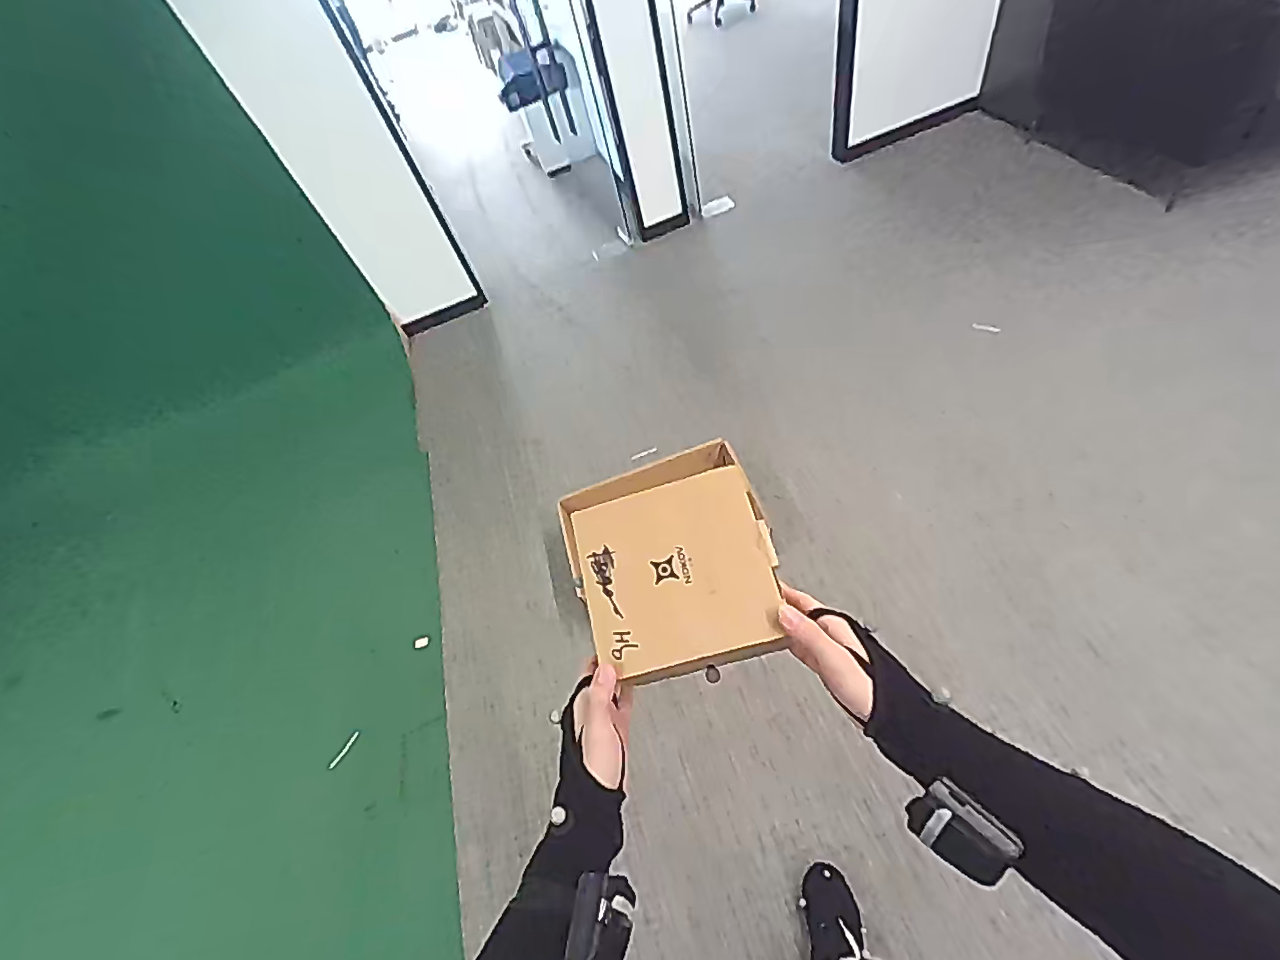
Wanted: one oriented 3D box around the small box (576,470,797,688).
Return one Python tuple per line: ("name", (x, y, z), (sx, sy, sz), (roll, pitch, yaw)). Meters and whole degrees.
("small box", (0.048, 0.113, 0.568), (0.179, 0.176, 0.168), (-15, 64, 5))
